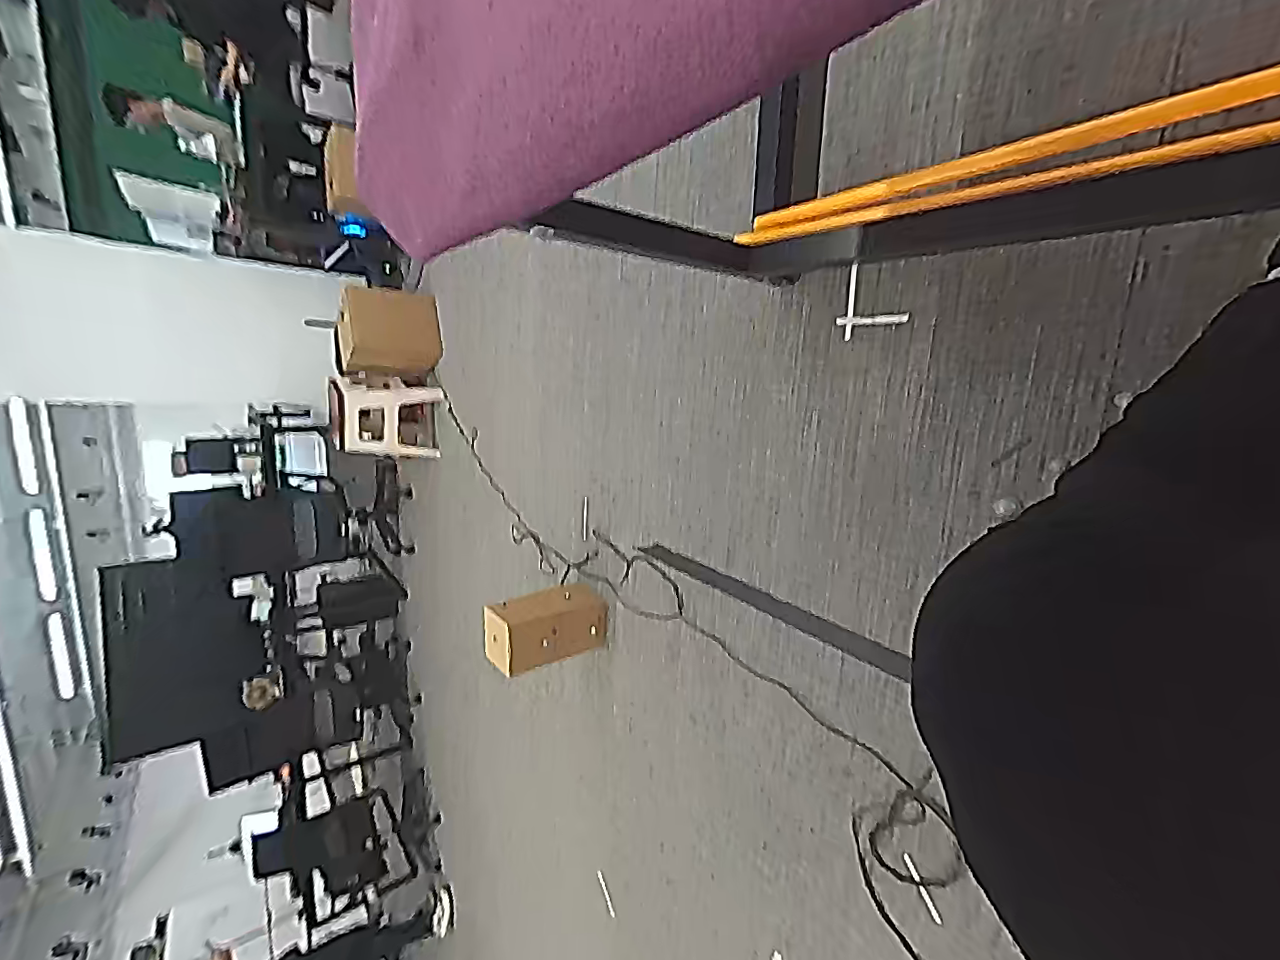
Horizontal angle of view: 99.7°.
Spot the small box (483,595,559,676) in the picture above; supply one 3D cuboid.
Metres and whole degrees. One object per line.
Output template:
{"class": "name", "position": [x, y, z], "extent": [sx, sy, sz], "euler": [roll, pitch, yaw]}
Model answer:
{"class": "small box", "position": [-0.361, 0.459, 1.630], "extent": [0.179, 0.176, 0.168], "euler": [14, 107, 50]}

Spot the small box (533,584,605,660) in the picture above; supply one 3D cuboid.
{"class": "small box", "position": [-0.231, 0.446, 1.731], "extent": [0.179, 0.176, 0.168], "euler": [16, 108, 49]}
